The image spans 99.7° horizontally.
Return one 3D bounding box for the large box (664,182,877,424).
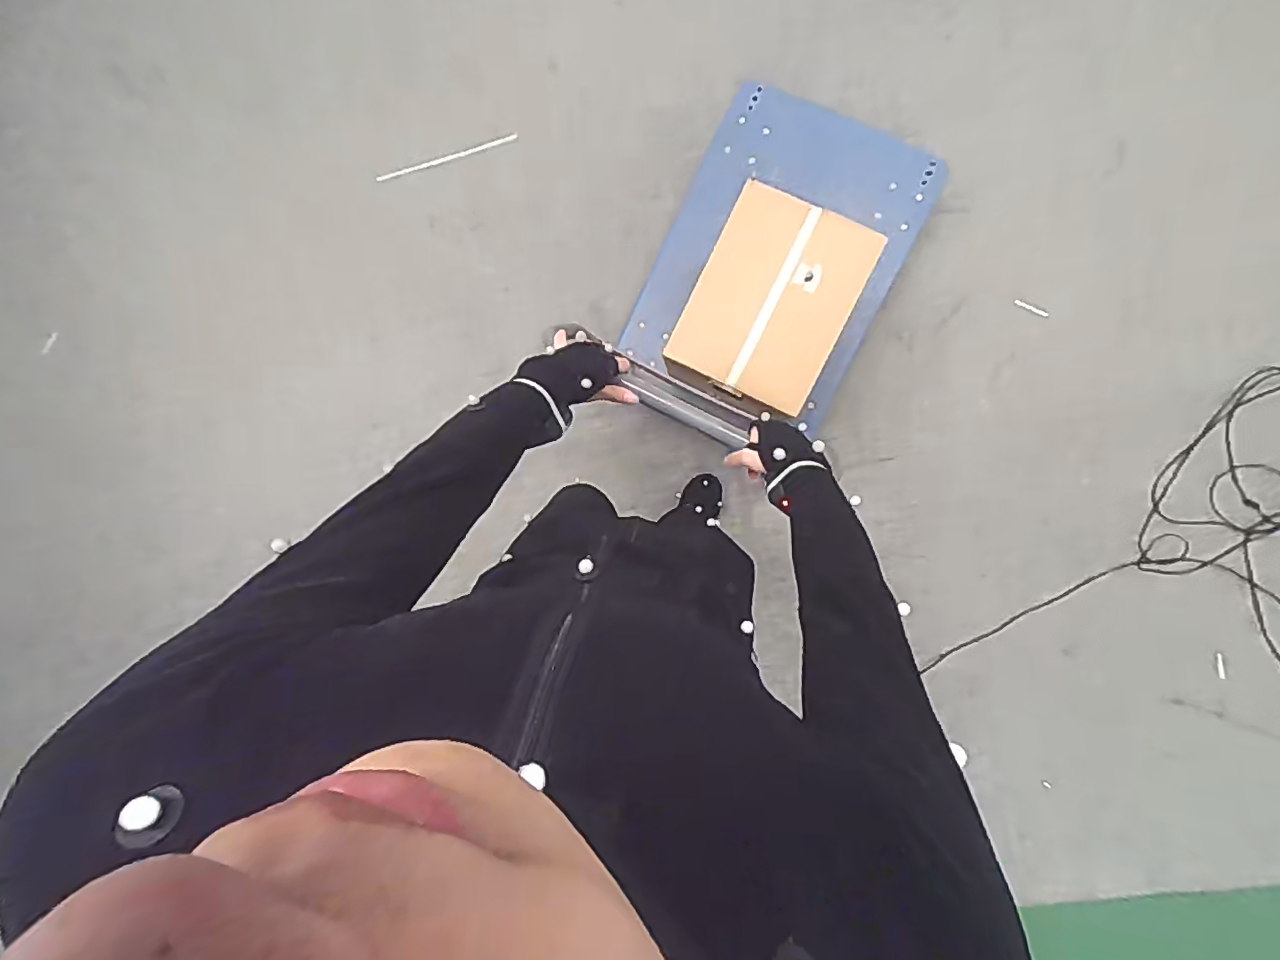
[{"bbox_3d":[0.285,-0.384,1.279,0.320,0.320,0.408,27,94,5],"label":"large box"}]
